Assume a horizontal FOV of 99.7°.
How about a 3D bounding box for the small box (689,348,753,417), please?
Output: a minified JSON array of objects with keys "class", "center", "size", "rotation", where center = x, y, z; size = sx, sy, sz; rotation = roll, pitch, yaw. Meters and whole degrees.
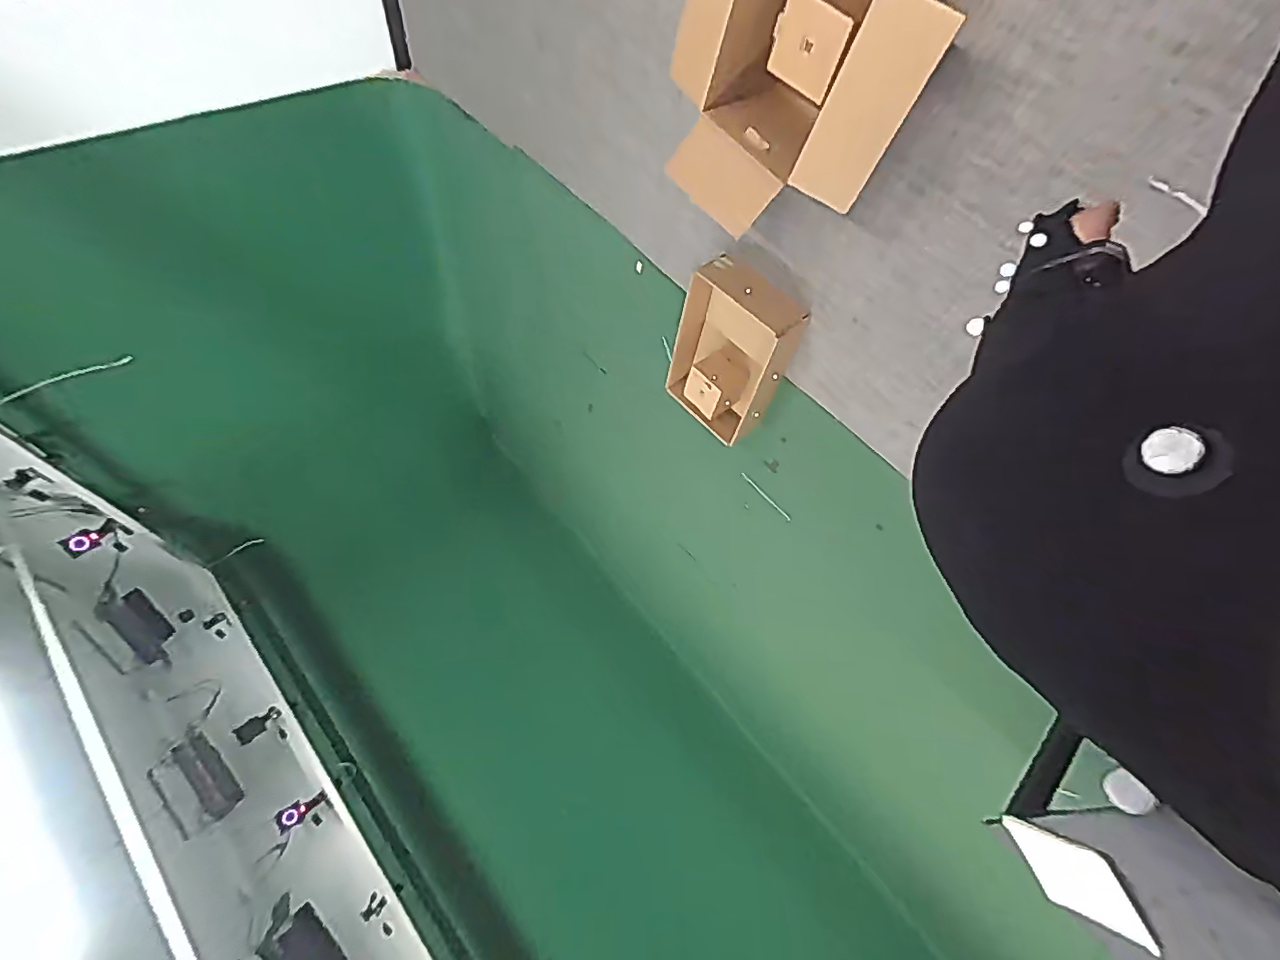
[{"class":"small box","center":[0.324,-0.390,2.146],"size":[0.168,0.176,0.179],"rotation":[47,153,19]}]
